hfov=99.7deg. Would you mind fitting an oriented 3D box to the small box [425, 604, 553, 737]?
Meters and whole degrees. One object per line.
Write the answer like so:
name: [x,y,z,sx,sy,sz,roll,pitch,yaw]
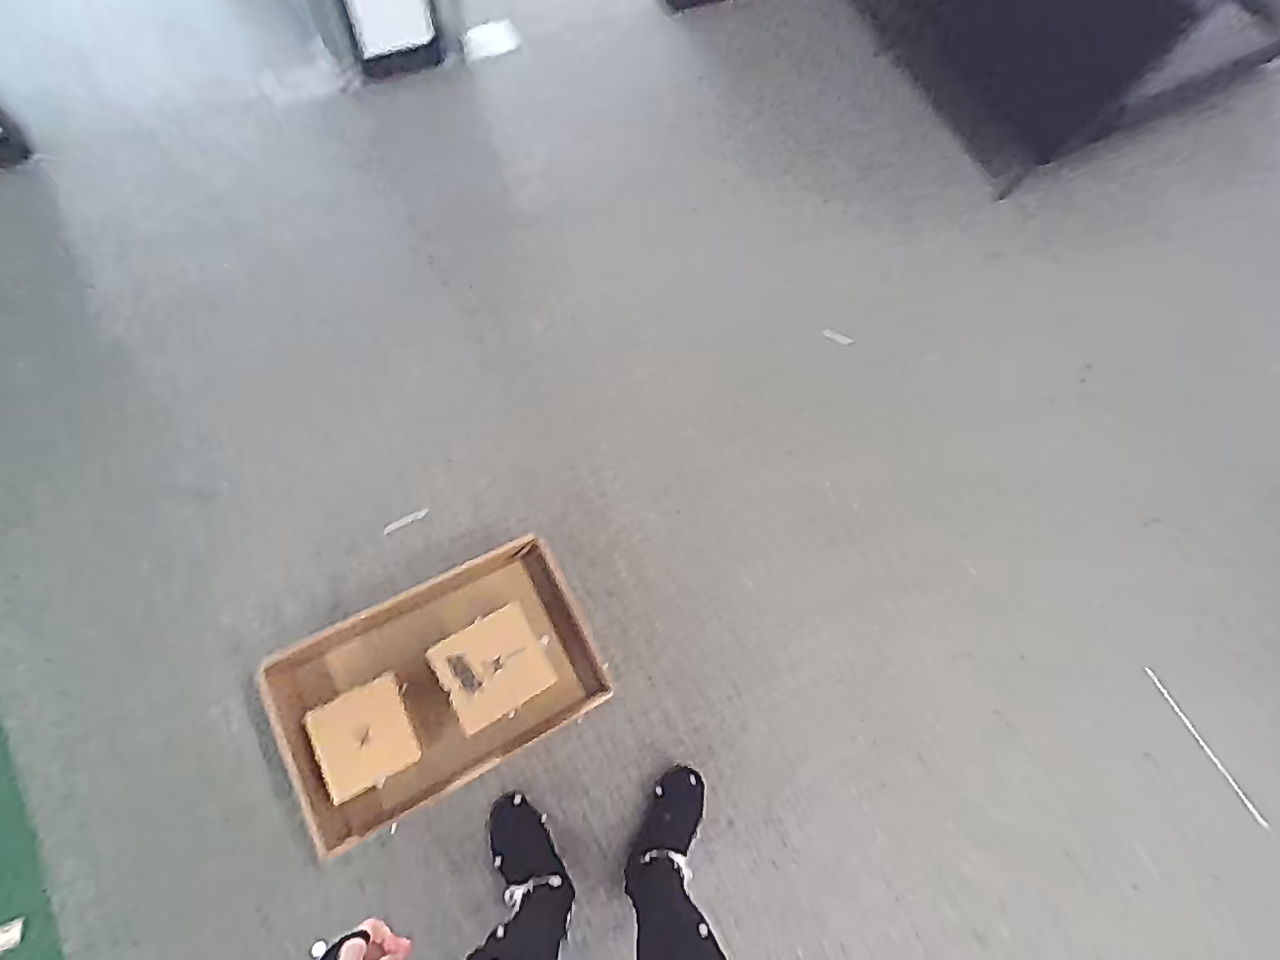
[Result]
small box: [-0.276,0.358,1.027,0.179,0.176,0.168,-27,79,-17]
